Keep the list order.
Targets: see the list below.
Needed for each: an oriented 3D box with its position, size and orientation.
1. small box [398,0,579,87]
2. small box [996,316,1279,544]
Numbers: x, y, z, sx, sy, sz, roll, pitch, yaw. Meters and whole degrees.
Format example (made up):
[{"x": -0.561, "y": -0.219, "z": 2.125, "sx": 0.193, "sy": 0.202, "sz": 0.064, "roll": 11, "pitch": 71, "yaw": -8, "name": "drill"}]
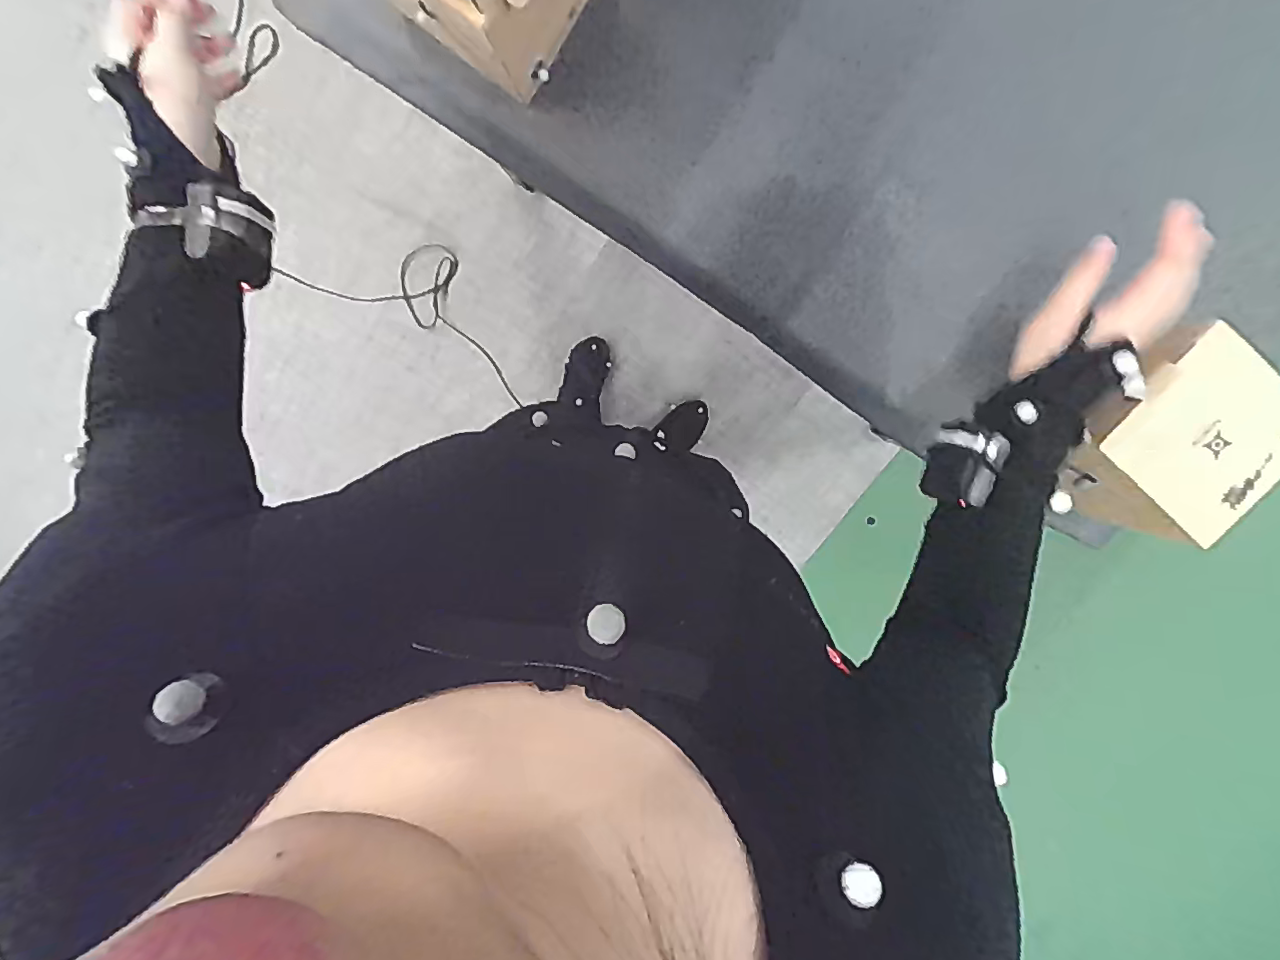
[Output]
[{"x": -0.161, "y": -0.536, "z": 0.533, "sx": 0.179, "sy": 0.176, "sz": 0.168, "roll": 34, "pitch": 103, "yaw": -6, "name": "small box"}, {"x": 0.568, "y": -0.058, "z": 0.622, "sx": 0.179, "sy": 0.176, "sz": 0.168, "roll": 39, "pitch": 98, "yaw": -6, "name": "small box"}]
